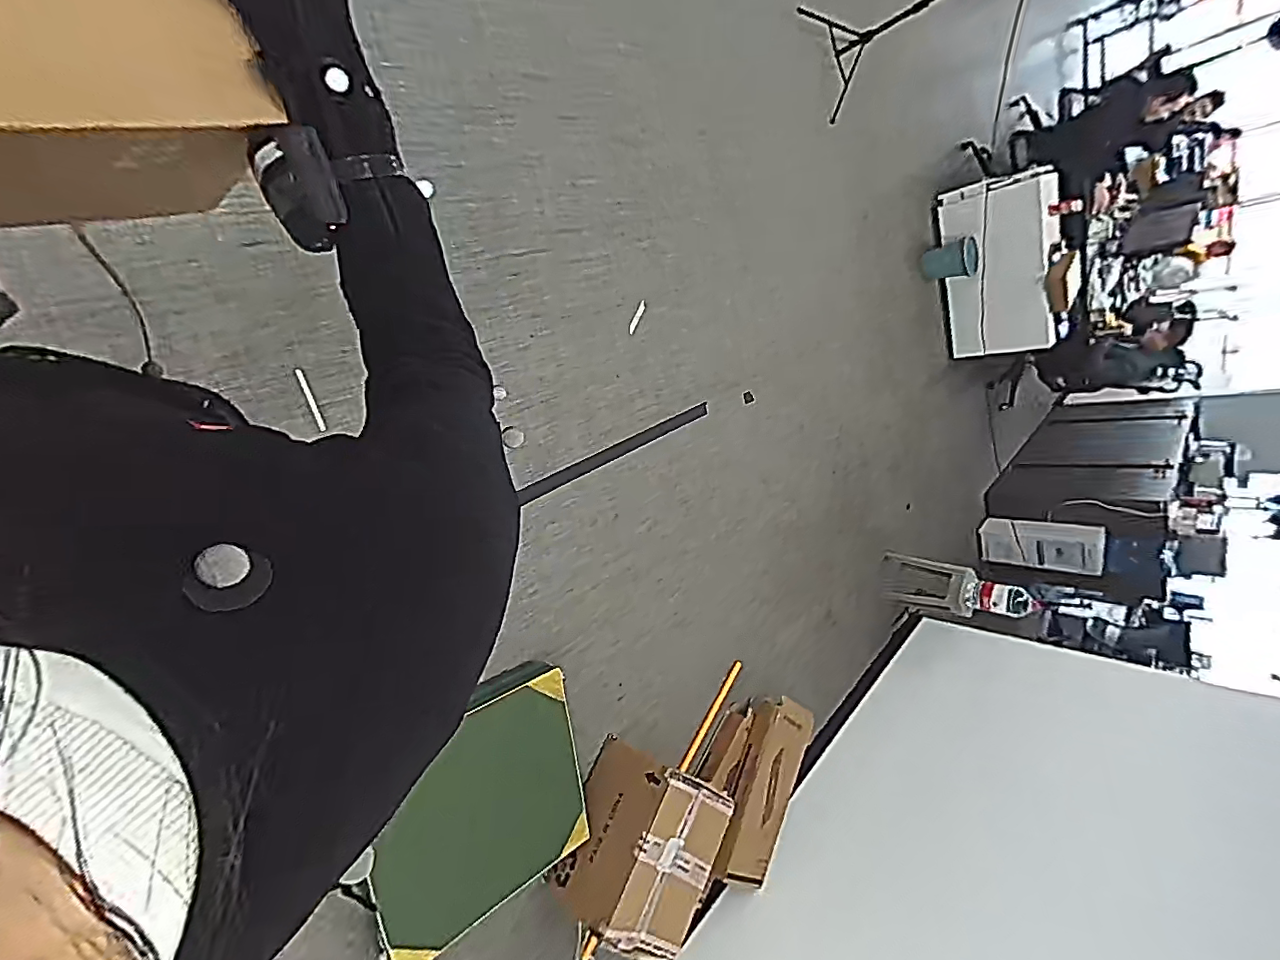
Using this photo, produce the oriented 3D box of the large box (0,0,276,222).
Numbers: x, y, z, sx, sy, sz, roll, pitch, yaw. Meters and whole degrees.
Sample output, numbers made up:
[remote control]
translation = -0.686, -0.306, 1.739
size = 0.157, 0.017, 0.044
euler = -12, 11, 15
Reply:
[large box]
translation = -0.503, -0.314, 0.273
size = 0.408, 0.320, 0.320
euler = -31, 122, -38
